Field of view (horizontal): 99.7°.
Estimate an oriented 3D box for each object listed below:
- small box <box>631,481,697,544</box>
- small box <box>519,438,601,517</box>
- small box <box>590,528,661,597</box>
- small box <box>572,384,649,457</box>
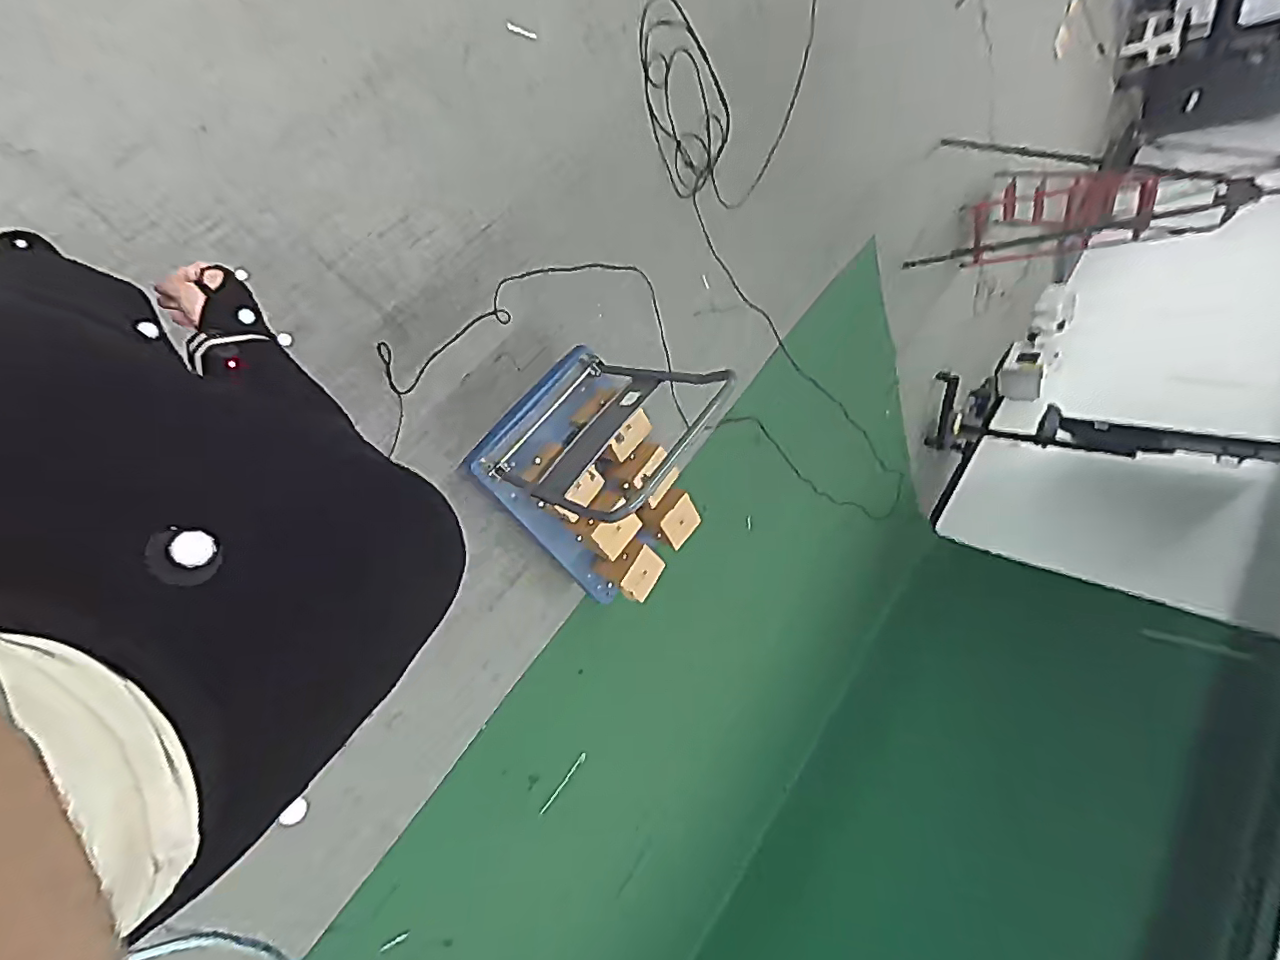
[{"bbox_3d":[0.091,0.123,2.153,0.168,0.176,0.179,-48,132,-20],"label":"small box"},{"bbox_3d":[-0.266,-0.012,1.754,0.179,0.176,0.168,-53,134,-17],"label":"small box"},{"bbox_3d":[-0.057,0.310,2.069,0.179,0.176,0.168,-50,130,-18],"label":"small box"},{"bbox_3d":[-0.108,-0.206,1.839,0.179,0.176,0.168,-49,133,-21],"label":"small box"}]
